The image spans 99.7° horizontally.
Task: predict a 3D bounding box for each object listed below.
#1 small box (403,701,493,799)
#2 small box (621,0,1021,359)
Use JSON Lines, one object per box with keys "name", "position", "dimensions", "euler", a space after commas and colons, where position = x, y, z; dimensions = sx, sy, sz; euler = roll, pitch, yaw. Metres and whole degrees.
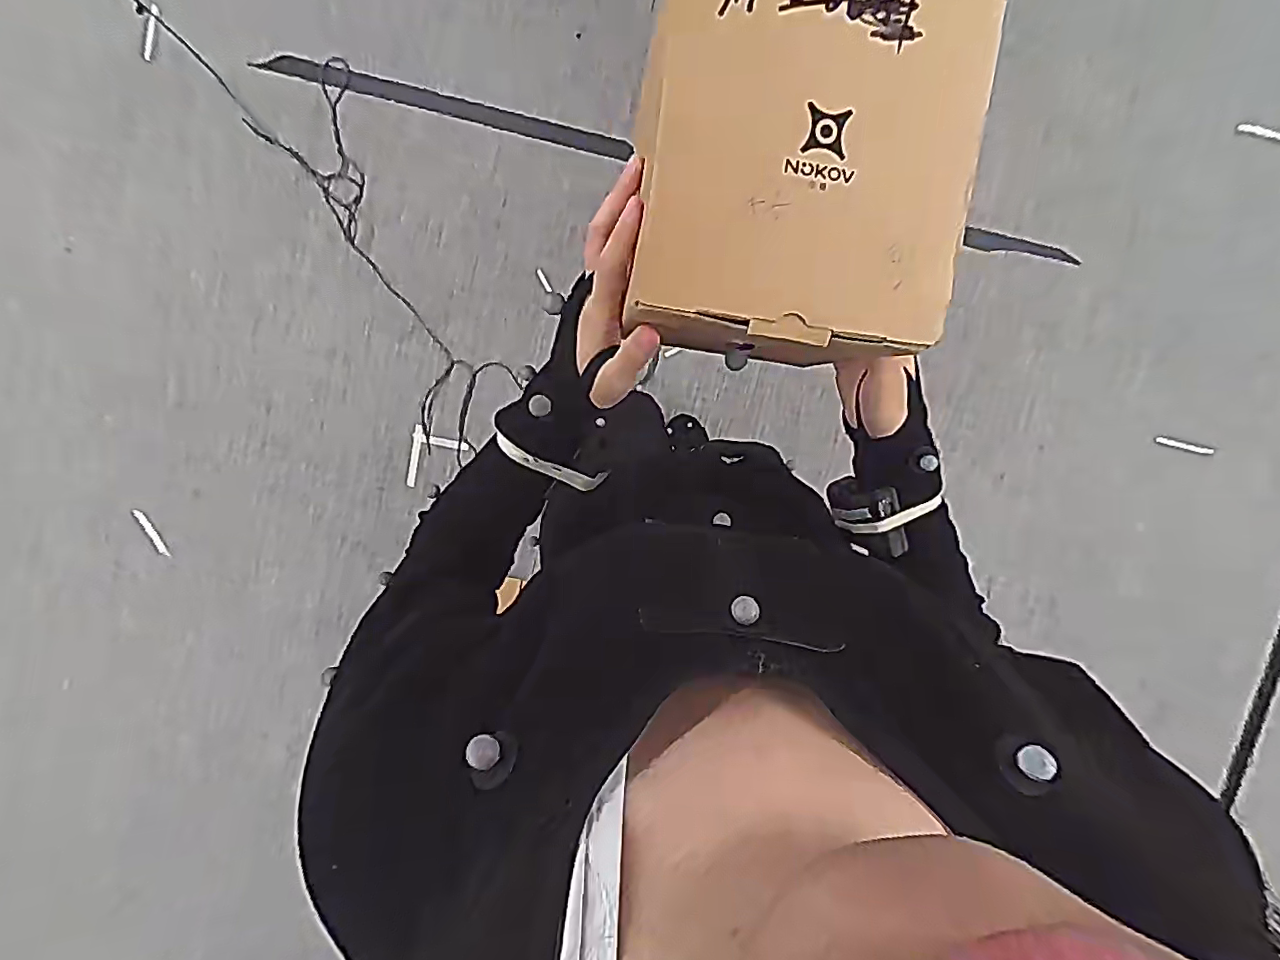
{"name": "small box", "position": [-0.512, 0.717, 1.455], "dimensions": [0.179, 0.176, 0.168], "euler": [6, 97, 0]}
{"name": "small box", "position": [0.082, -0.175, 0.340], "dimensions": [0.168, 0.176, 0.179], "euler": [7, 99, -8]}
